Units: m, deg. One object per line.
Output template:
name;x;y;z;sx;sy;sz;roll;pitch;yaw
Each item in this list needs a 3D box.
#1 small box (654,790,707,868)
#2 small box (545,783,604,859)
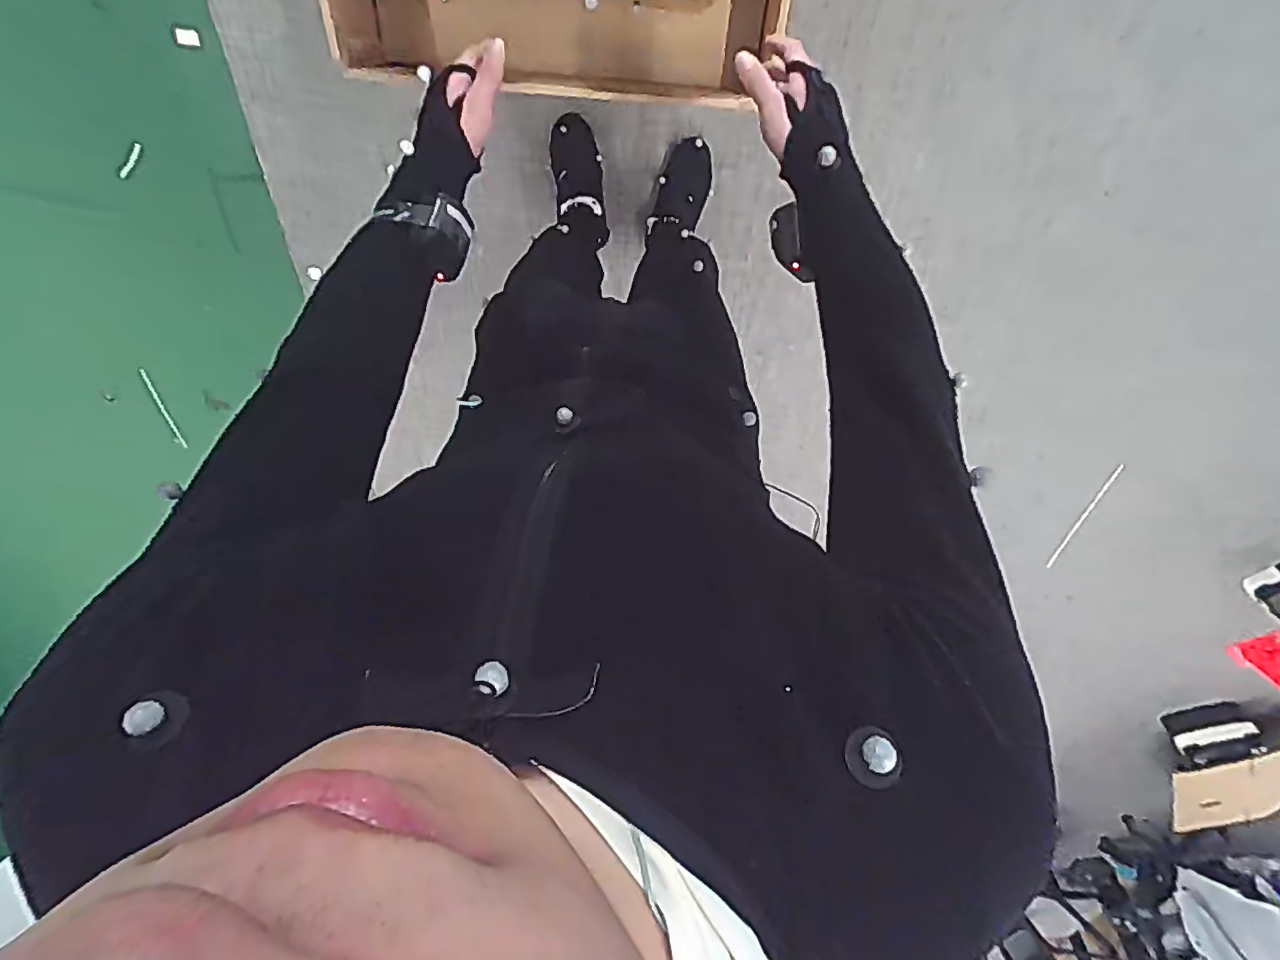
small box;0.133;1.146;1.777;0.168;0.176;0.179;2;129;4
small box;-0.213;1.131;1.799;0.168;0.176;0.179;3;130;3
